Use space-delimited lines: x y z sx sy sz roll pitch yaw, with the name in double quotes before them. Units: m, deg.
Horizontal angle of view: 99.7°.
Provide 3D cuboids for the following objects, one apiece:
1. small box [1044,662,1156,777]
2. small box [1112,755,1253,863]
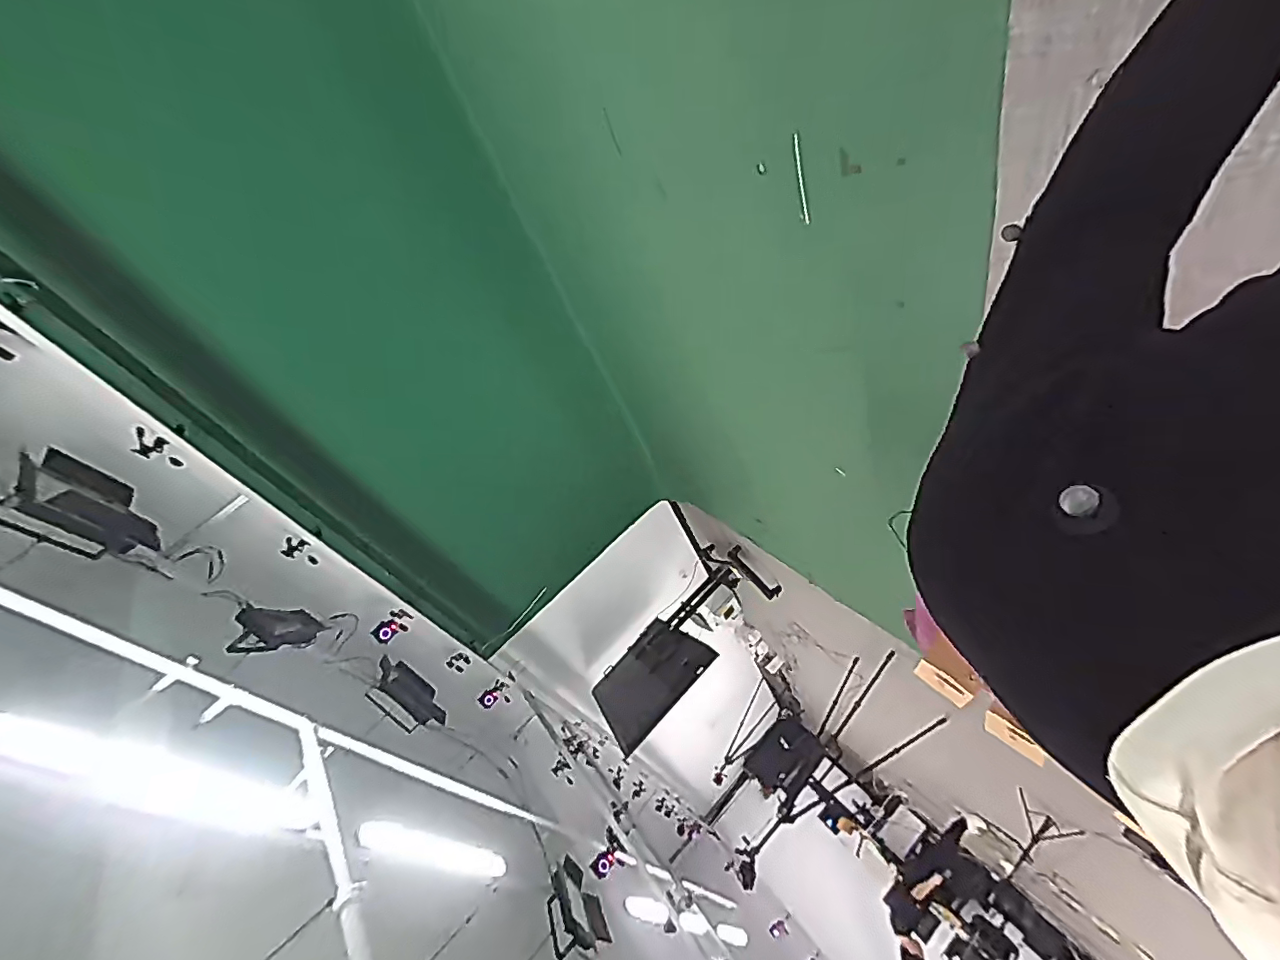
"small box" 1.163 0.601 1.369 0.168 0.176 0.179 28 157 52
"small box" 1.375 0.830 1.378 0.179 0.176 0.168 37 163 36
